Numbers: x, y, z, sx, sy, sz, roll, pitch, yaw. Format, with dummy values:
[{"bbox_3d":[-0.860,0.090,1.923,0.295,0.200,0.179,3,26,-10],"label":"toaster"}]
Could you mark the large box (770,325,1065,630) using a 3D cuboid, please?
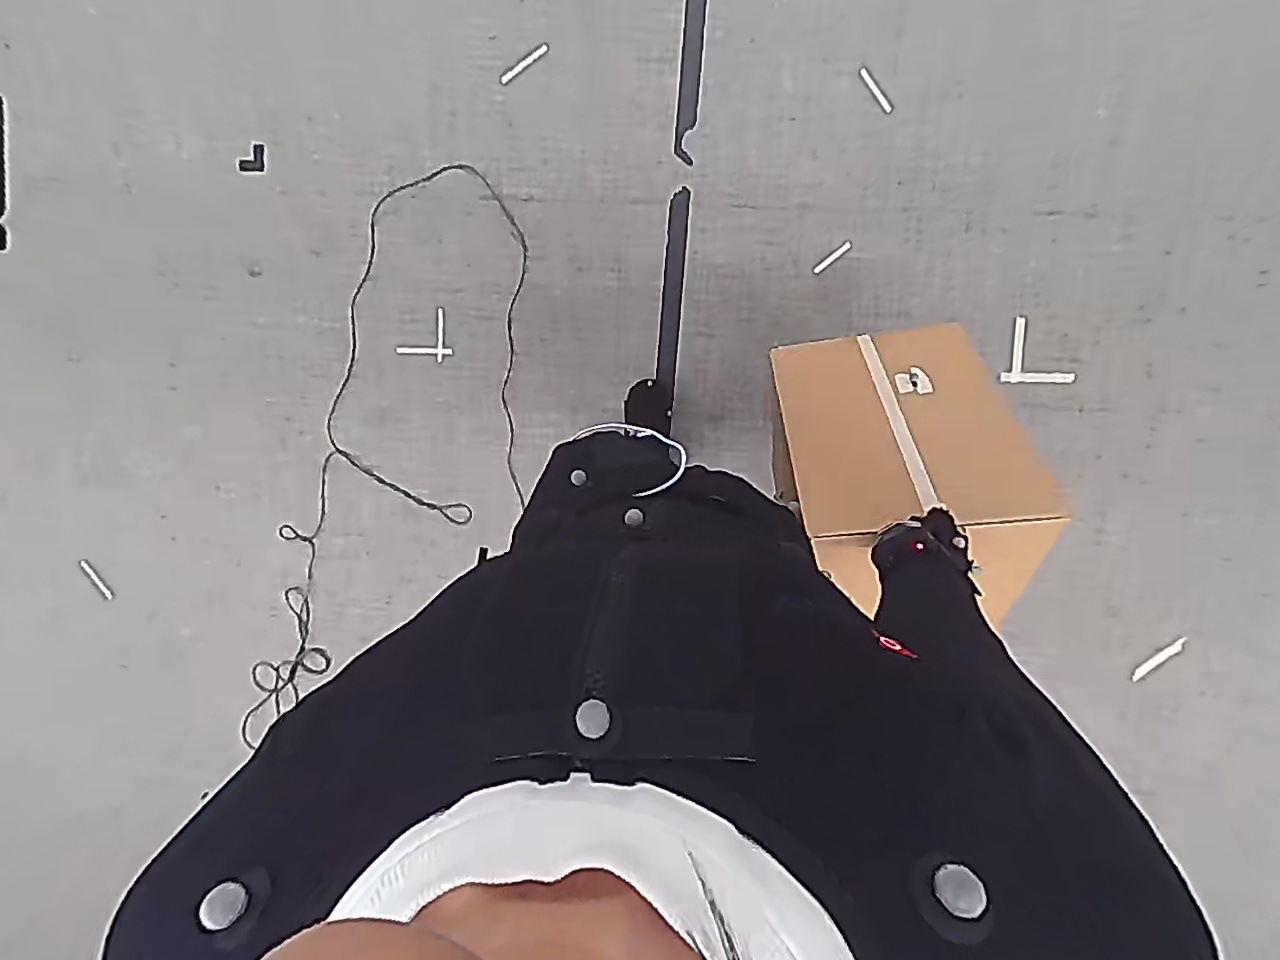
[{"bbox_3d":[0.407,-0.002,0.924,0.320,0.408,0.320,-5,139,8],"label":"large box"}]
